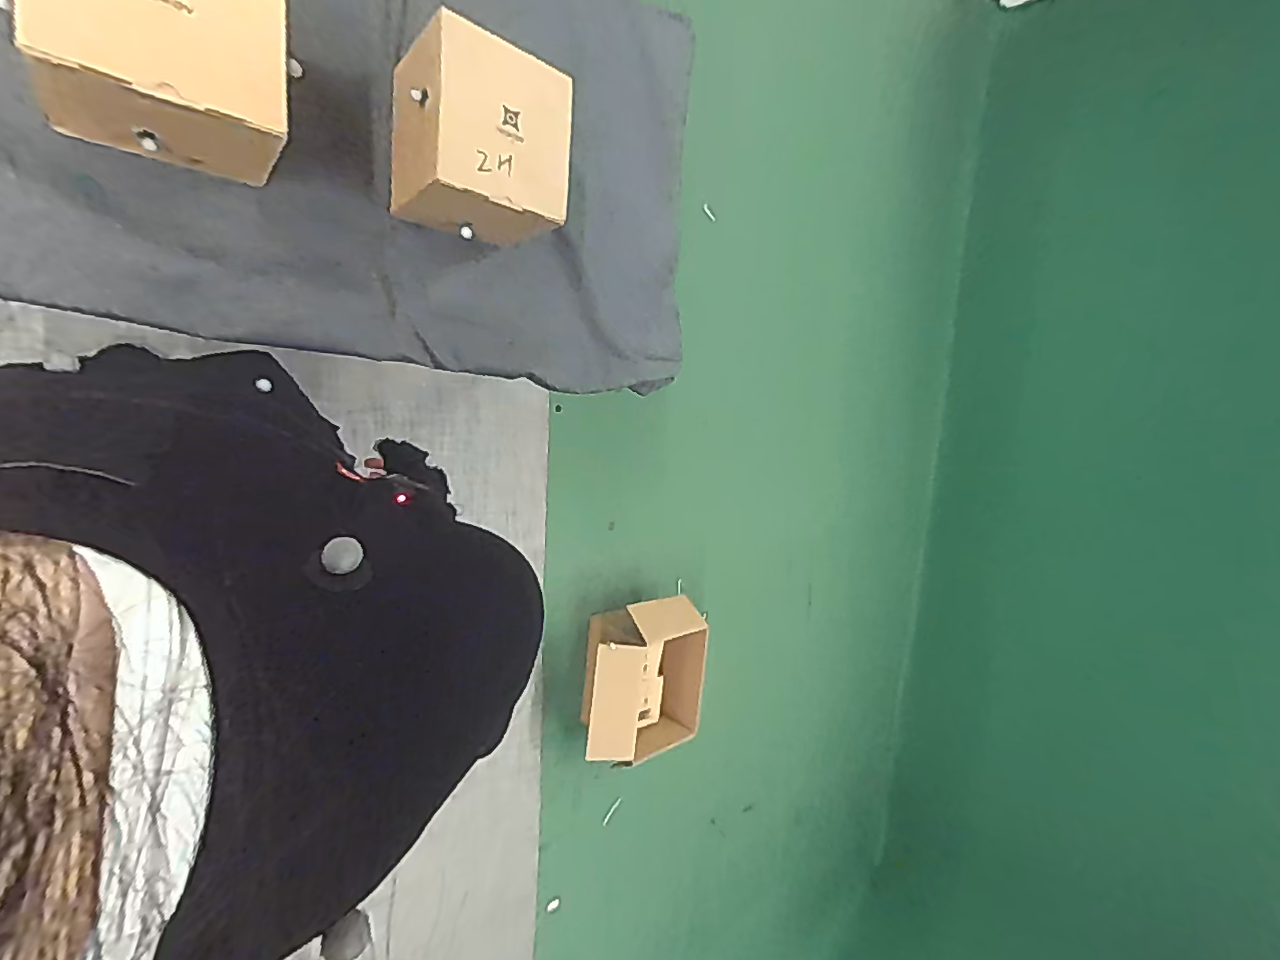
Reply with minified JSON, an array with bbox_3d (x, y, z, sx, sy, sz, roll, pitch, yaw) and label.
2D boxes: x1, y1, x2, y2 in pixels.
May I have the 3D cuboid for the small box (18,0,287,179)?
[{"bbox_3d":[-0.434,-0.409,0.491,0.168,0.176,0.179,-3,101,-42],"label":"small box"}]

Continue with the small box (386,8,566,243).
[{"bbox_3d":[-0.212,-0.424,0.688,0.168,0.176,0.179,-2,100,-42],"label":"small box"}]
